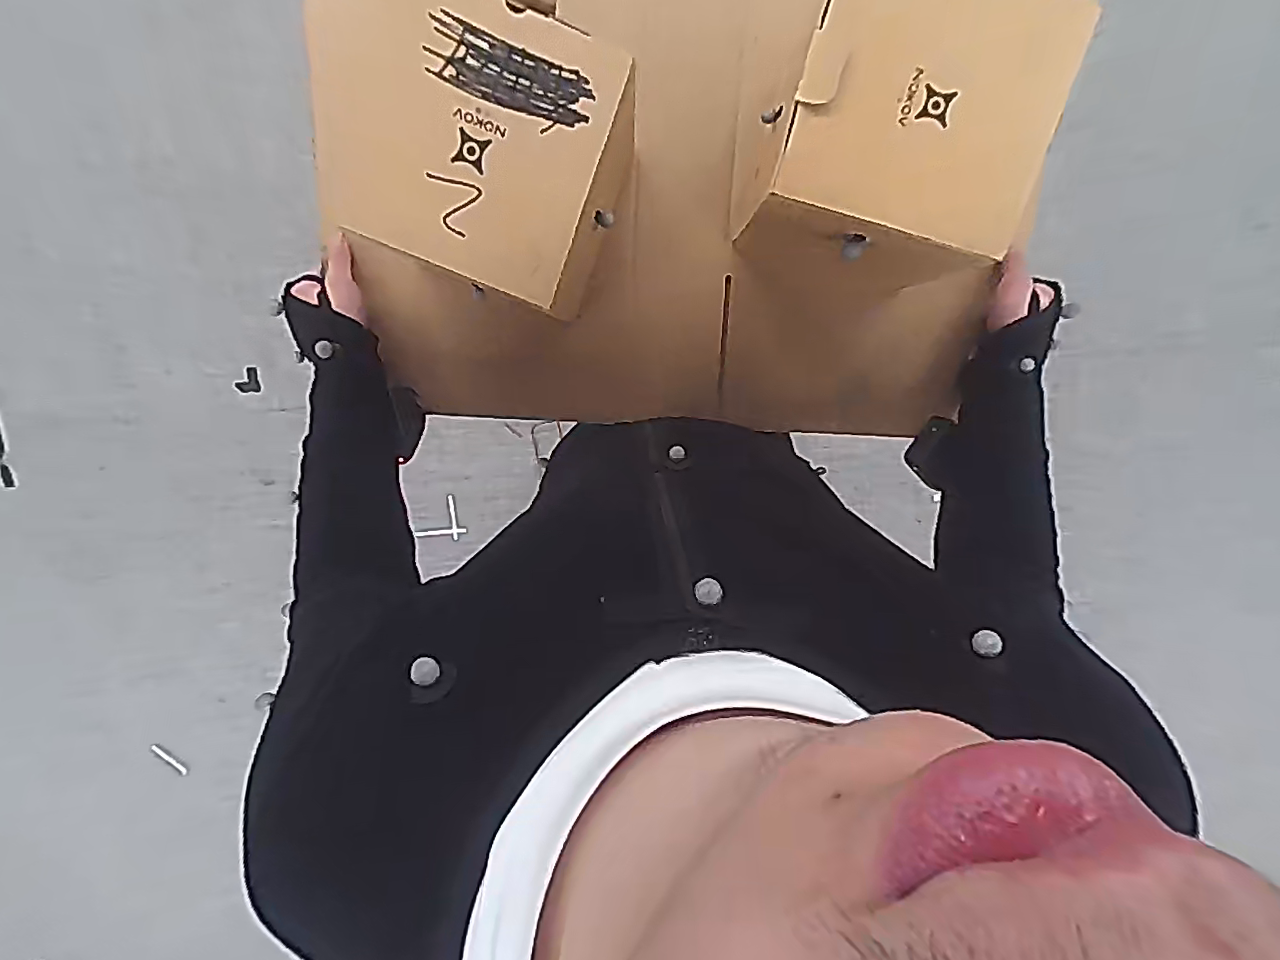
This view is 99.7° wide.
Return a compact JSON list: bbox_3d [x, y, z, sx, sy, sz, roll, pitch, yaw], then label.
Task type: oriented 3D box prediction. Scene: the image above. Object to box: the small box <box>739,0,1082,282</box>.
[{"bbox_3d":[0.199,-0.278,0.458,0.179,0.176,0.168,15,102,-1],"label":"small box"}]
